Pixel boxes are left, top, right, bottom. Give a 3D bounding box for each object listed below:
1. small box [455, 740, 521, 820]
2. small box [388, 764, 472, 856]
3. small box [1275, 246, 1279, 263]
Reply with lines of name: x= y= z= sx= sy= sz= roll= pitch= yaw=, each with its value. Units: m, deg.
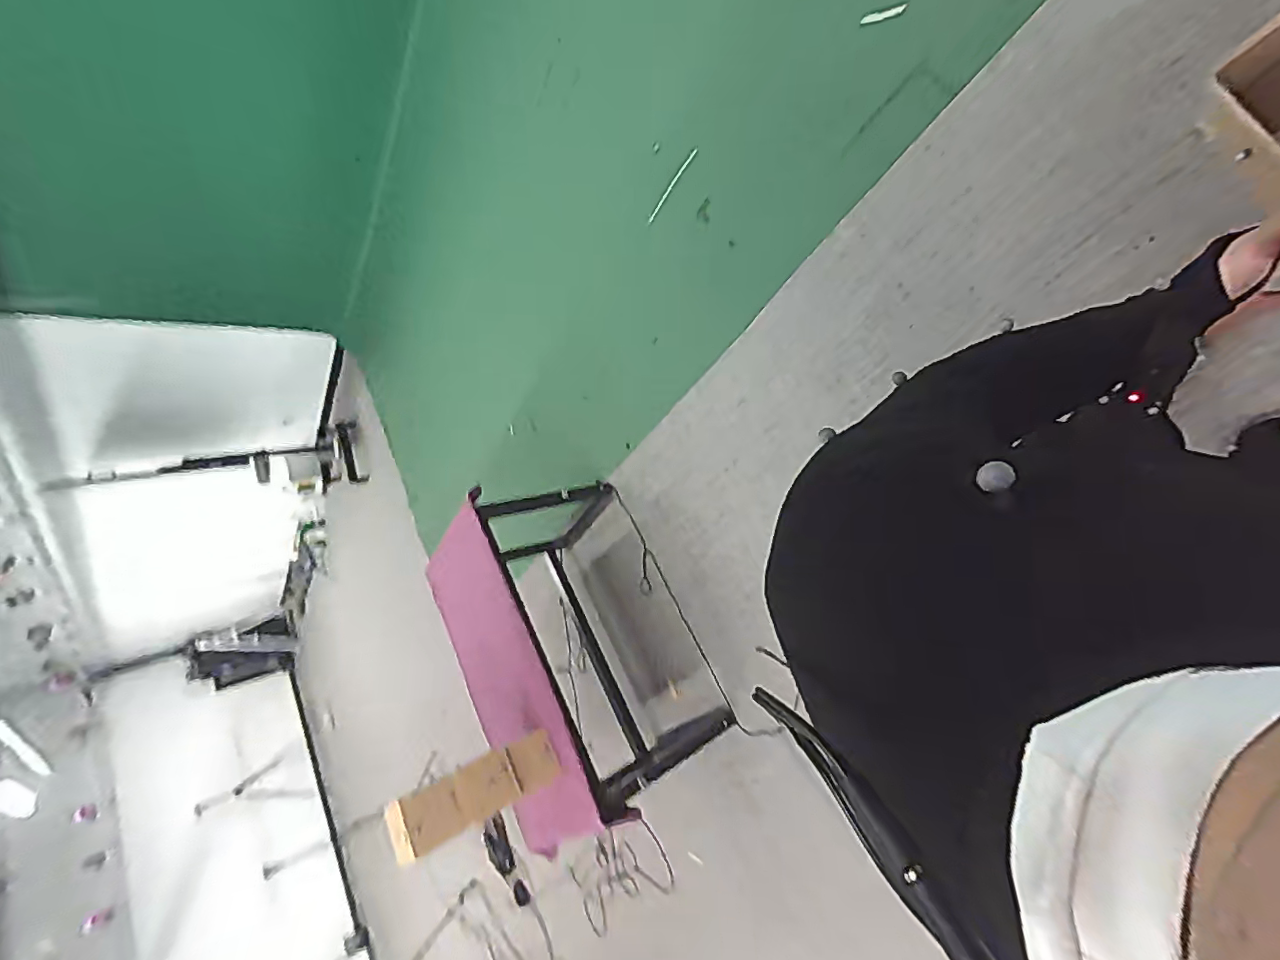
small box: x=-0.498 y=0.950 z=1.708 sx=0.179 sy=0.176 sz=0.168 roll=-46 pitch=64 yaw=41
small box: x=-0.621 y=0.975 z=1.601 sx=0.179 sy=0.176 sz=0.168 roll=-47 pitch=64 yaw=41
small box: x=0.602 y=-0.235 z=0.374 sx=0.168 sy=0.176 sz=0.179 roll=26 pitch=120 yaw=41
